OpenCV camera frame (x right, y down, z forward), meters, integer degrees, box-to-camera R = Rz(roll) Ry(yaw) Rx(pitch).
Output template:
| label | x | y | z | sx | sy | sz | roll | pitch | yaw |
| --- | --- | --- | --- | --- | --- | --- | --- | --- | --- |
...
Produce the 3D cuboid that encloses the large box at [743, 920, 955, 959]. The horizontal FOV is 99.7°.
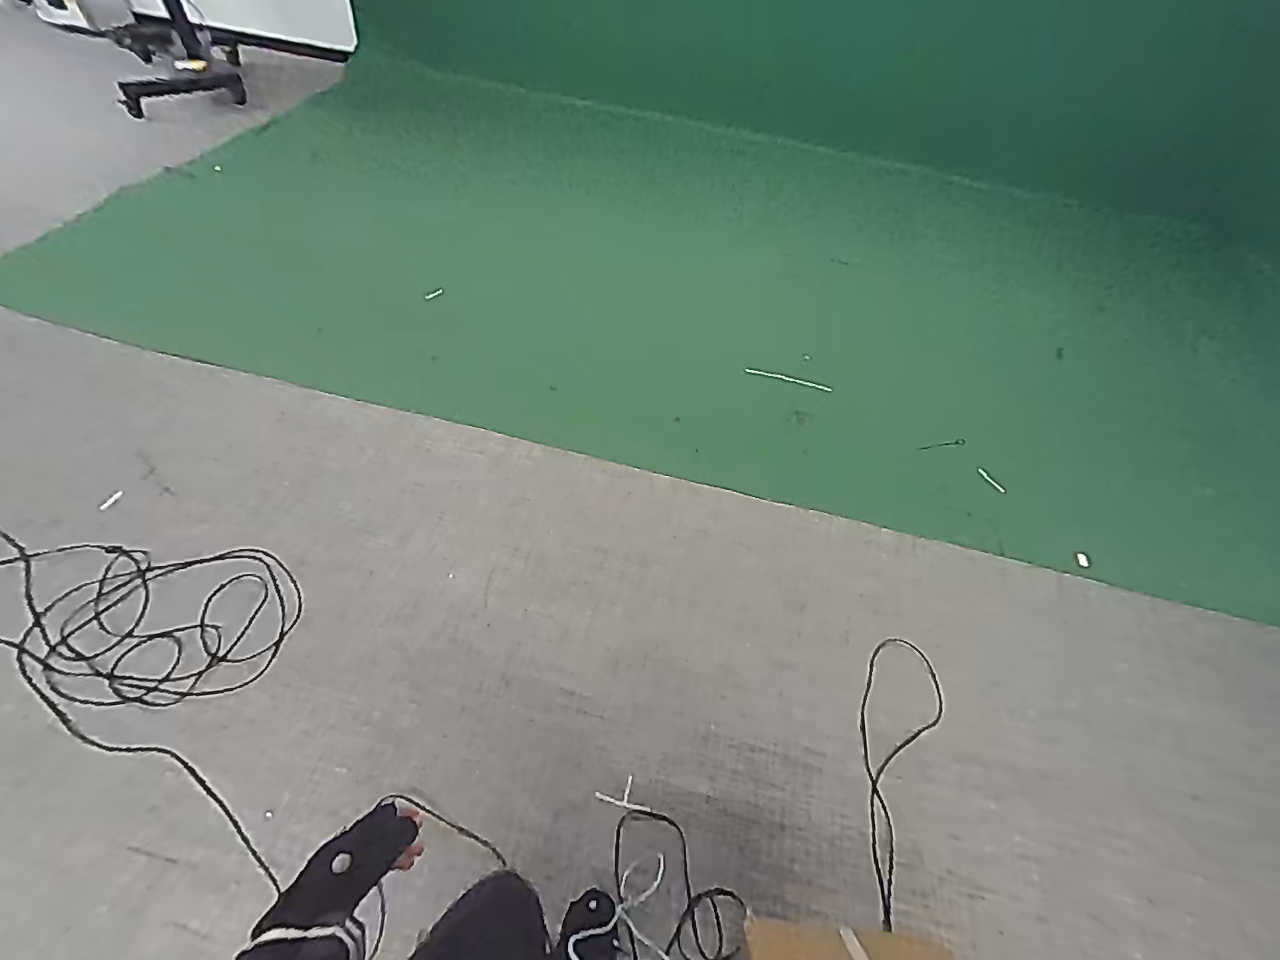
| label | x | y | z | sx | sy | sz | roll | pitch | yaw |
| --- | --- | --- | --- | --- | --- | --- | --- | --- | --- |
| large box | 0.304 | 0.826 | 0.628 | 0.320 | 0.408 | 0.320 | 7 | 84 | 0 |
